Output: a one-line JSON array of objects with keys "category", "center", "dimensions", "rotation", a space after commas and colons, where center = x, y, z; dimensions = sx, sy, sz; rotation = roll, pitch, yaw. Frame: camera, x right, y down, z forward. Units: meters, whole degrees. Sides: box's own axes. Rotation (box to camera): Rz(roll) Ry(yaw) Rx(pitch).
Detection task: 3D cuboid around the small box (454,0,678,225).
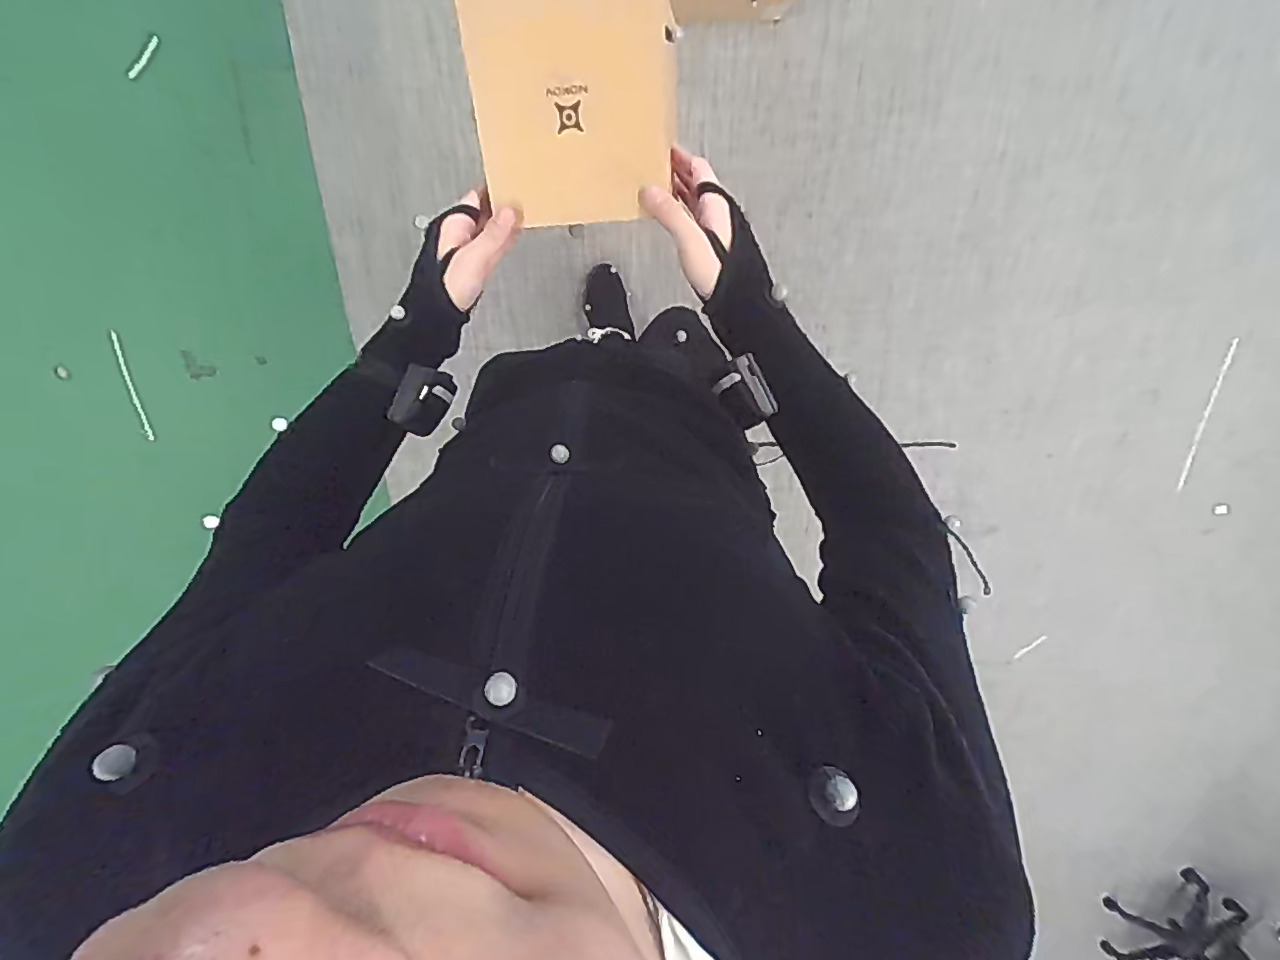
[{"category": "small box", "center": [-0.051, -0.350, 0.517], "dimensions": [0.168, 0.176, 0.179], "rotation": [-1, 118, 7]}]
